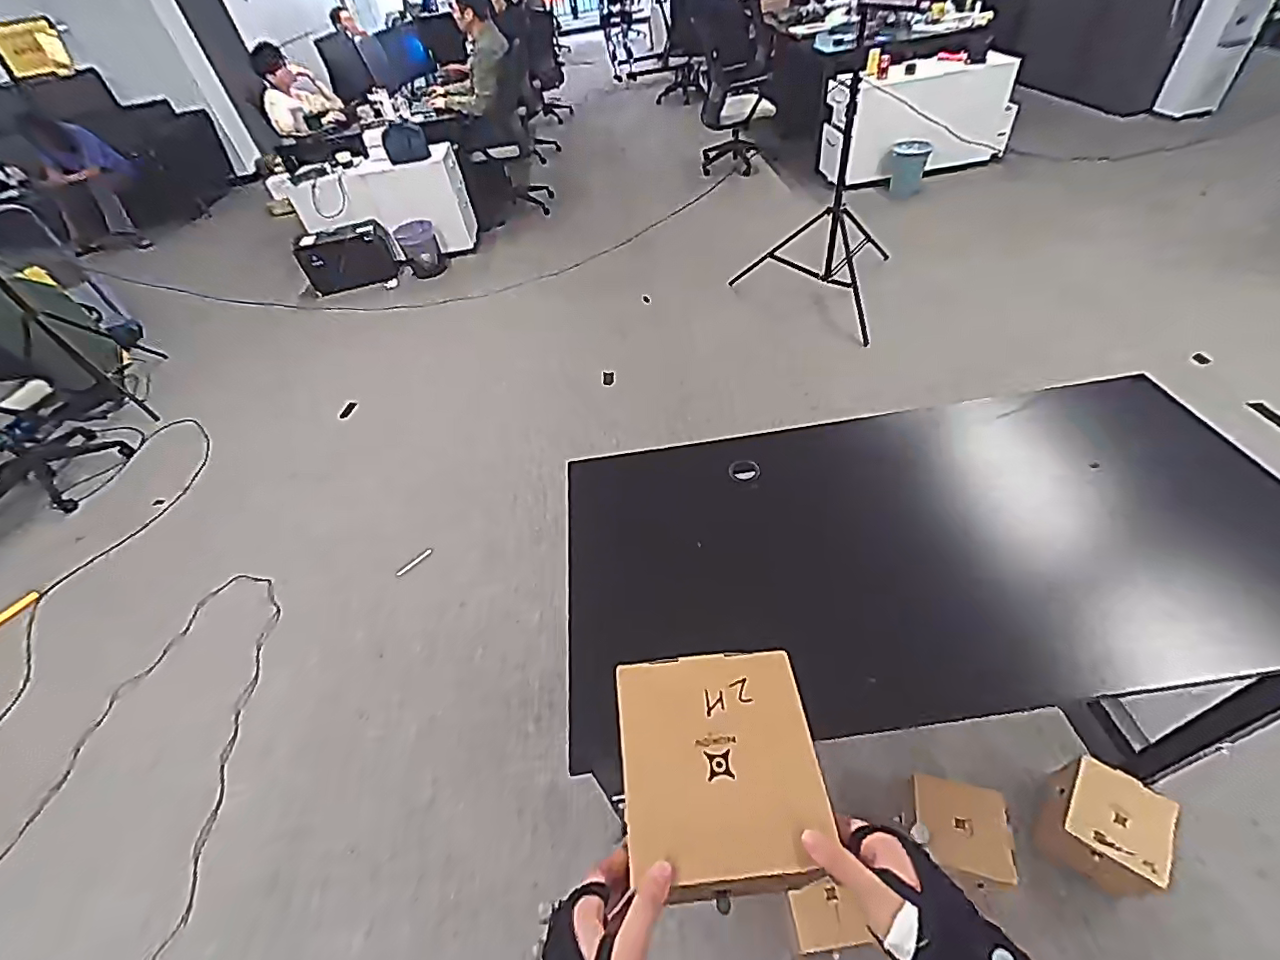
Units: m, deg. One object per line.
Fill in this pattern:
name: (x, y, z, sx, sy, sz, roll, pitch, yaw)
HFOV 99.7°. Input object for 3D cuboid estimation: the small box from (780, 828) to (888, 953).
small box: (0.379, 0.847, 1.114, 0.168, 0.176, 0.179, -10, 47, 1)

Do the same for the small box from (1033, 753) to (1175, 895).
small box: (0.963, 0.720, 1.132, 0.168, 0.176, 0.179, 25, 56, 30)

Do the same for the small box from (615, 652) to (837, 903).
small box: (0.066, 0.290, 0.521, 0.168, 0.176, 0.179, -5, 48, -3)

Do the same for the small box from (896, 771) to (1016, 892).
small box: (0.663, 0.754, 1.155, 0.179, 0.176, 0.168, 6, 47, 16)
